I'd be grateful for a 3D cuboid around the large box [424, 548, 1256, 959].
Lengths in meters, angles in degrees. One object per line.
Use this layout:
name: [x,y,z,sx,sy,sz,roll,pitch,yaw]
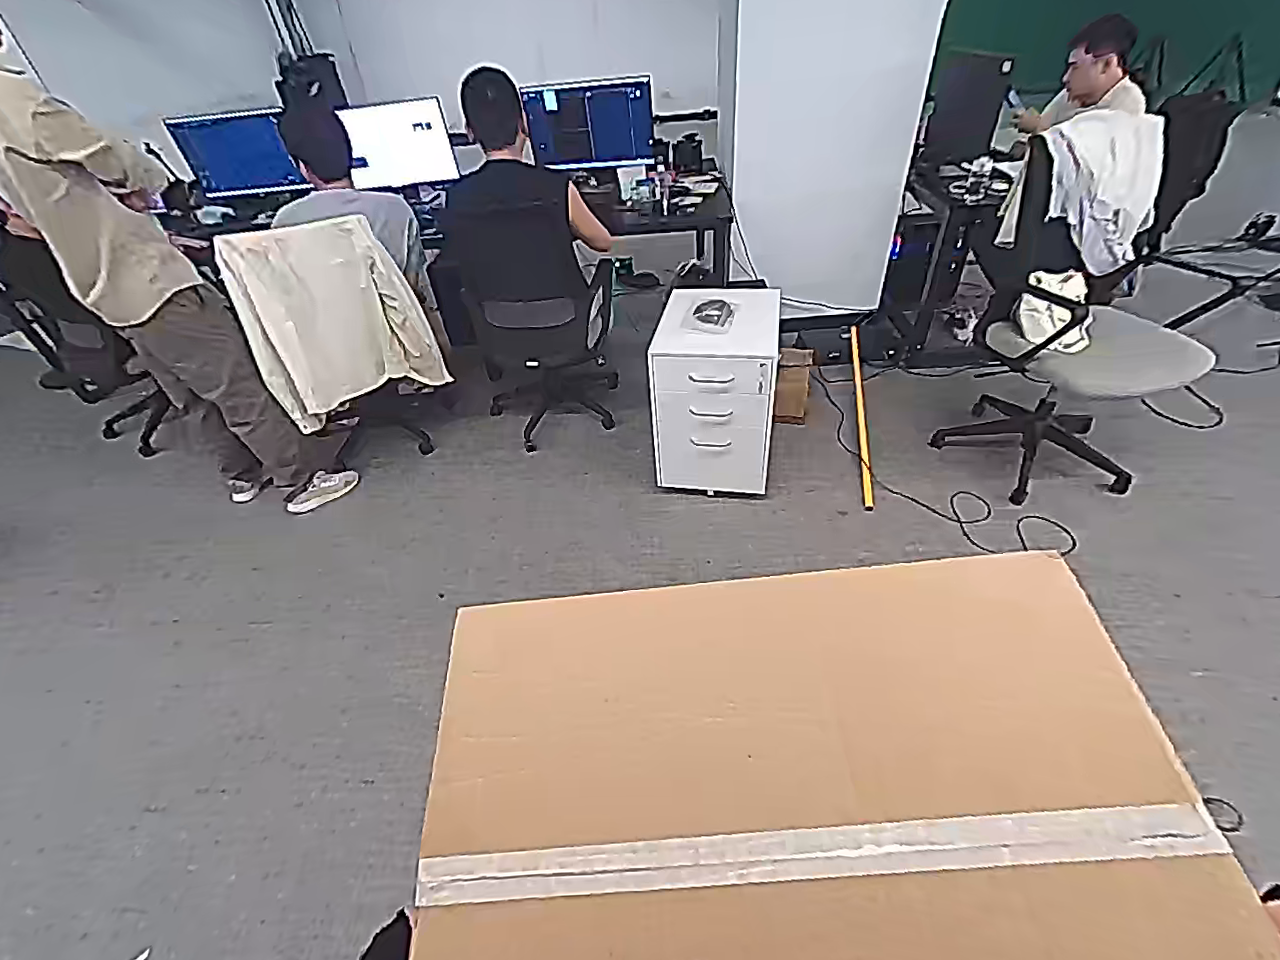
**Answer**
large box: [0.098,0.280,0.414,0.408,0.320,0.320,-7,55,4]
